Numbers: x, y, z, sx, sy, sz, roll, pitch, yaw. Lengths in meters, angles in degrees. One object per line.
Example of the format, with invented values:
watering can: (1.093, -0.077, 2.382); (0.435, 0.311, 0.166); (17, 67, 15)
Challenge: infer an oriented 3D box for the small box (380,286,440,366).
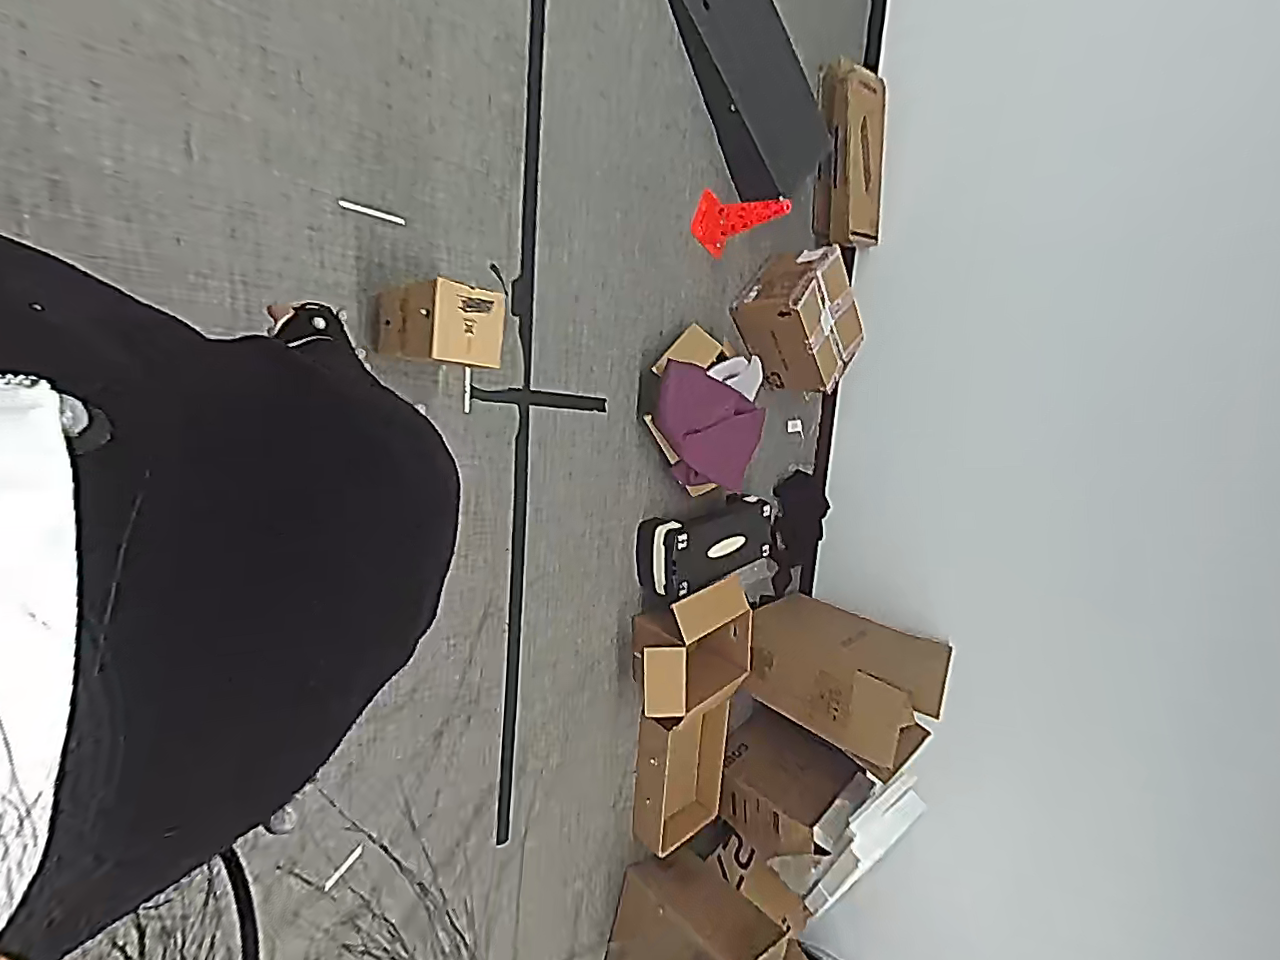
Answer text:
small box: (-0.554, -0.387, 1.391); (0.179, 0.176, 0.168); (0, 99, -43)

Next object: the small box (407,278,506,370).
small box: (-0.436, -0.360, 1.278); (0.168, 0.176, 0.179); (0, 99, -44)
